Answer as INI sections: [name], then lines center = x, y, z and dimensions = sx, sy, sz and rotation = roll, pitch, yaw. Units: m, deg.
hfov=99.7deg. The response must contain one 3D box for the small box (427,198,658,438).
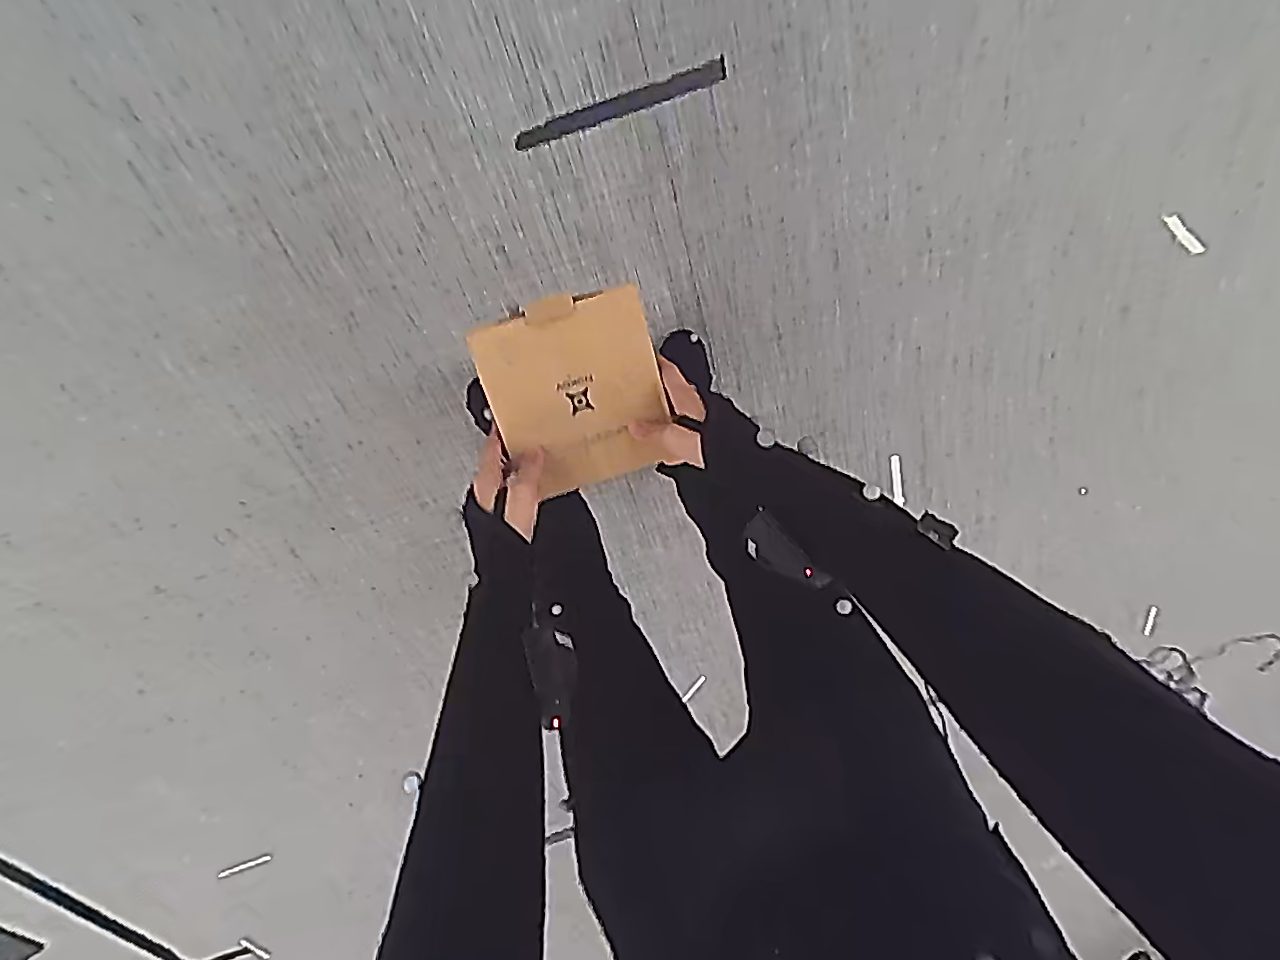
[small box]
center = -0.093, -0.162, 0.554
dimensions = 0.168, 0.176, 0.179
rotation = -17, 110, -4
